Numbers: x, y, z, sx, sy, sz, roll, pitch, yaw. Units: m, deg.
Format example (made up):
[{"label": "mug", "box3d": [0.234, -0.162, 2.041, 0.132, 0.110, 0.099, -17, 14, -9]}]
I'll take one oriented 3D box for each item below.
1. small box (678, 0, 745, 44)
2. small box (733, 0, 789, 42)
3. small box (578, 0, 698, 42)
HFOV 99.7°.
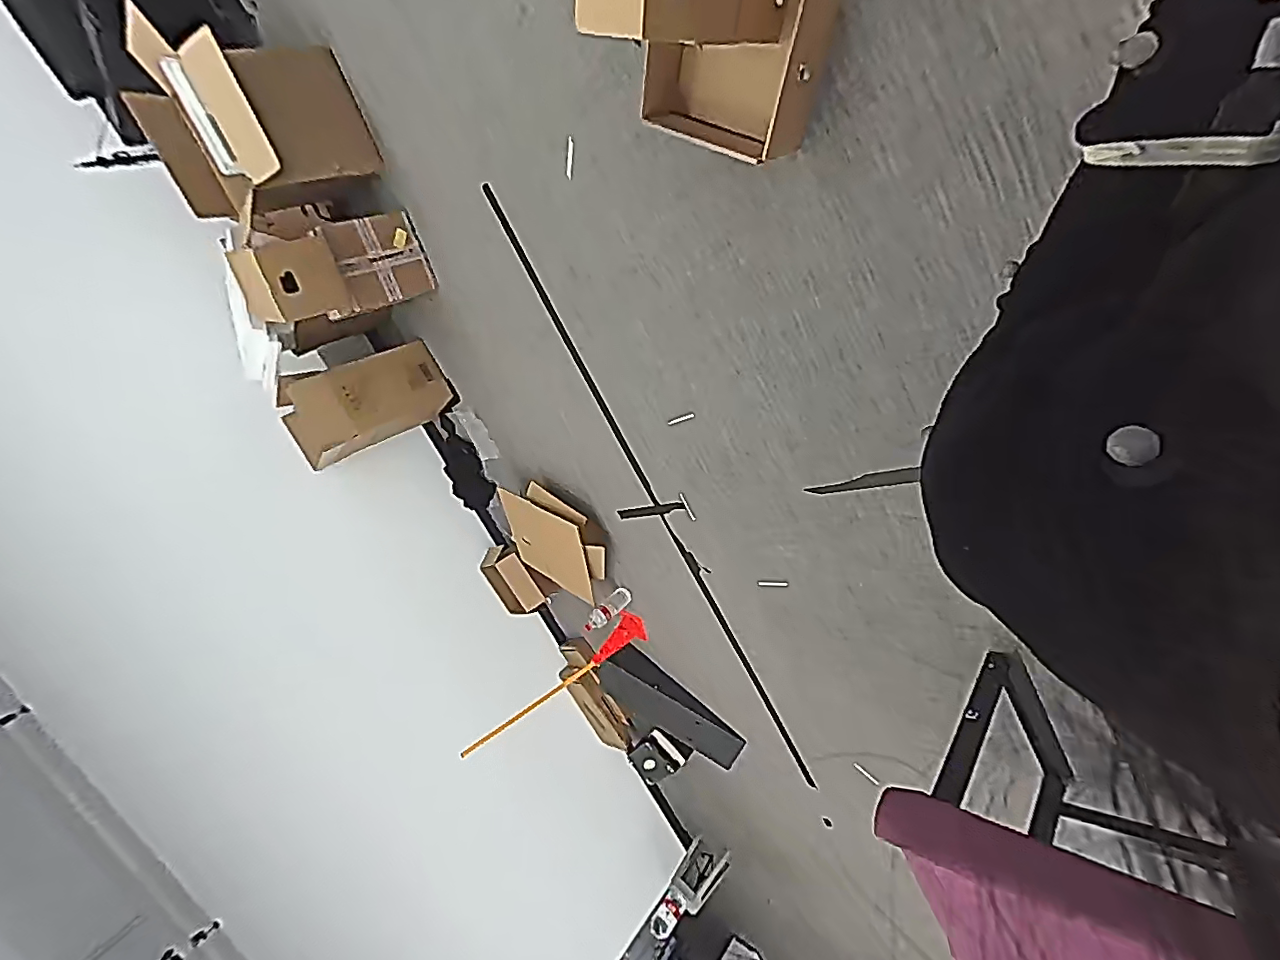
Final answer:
[{"label": "small box", "box3d": [0.110, -1.007, 1.106, 0.179, 0.176, 0.168, 33, 139, 28]}, {"label": "small box", "box3d": [0.219, -1.088, 1.195, 0.179, 0.176, 0.168, 35, 141, 24]}, {"label": "small box", "box3d": [0.003, -0.931, 1.006, 0.179, 0.176, 0.168, 32, 138, 27]}]
